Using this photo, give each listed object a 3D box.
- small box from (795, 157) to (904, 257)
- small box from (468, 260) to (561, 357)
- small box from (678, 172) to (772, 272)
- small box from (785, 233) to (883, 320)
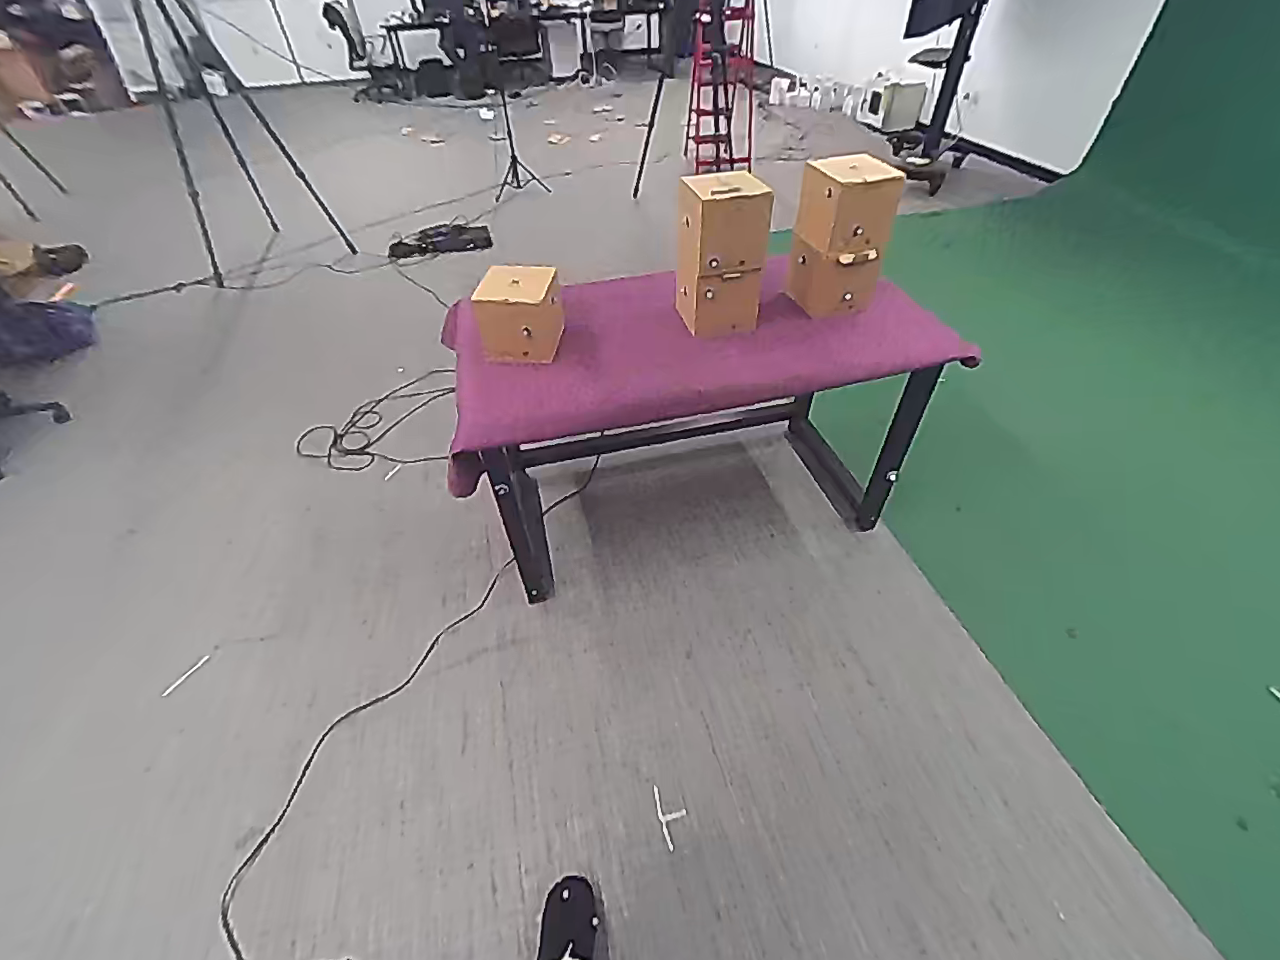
[{"bbox_3d":[0.500,-0.667,1.323,0.168,0.176,0.179,-13,48,-11],"label":"small box"},{"bbox_3d":[-0.292,-0.413,1.306,0.168,0.176,0.179,3,46,4],"label":"small box"},{"bbox_3d":[0.190,-0.596,1.262,0.168,0.176,0.179,-11,45,-9],"label":"small box"},{"bbox_3d":[0.503,-0.550,1.436,0.168,0.176,0.179,-14,47,-10],"label":"small box"}]
